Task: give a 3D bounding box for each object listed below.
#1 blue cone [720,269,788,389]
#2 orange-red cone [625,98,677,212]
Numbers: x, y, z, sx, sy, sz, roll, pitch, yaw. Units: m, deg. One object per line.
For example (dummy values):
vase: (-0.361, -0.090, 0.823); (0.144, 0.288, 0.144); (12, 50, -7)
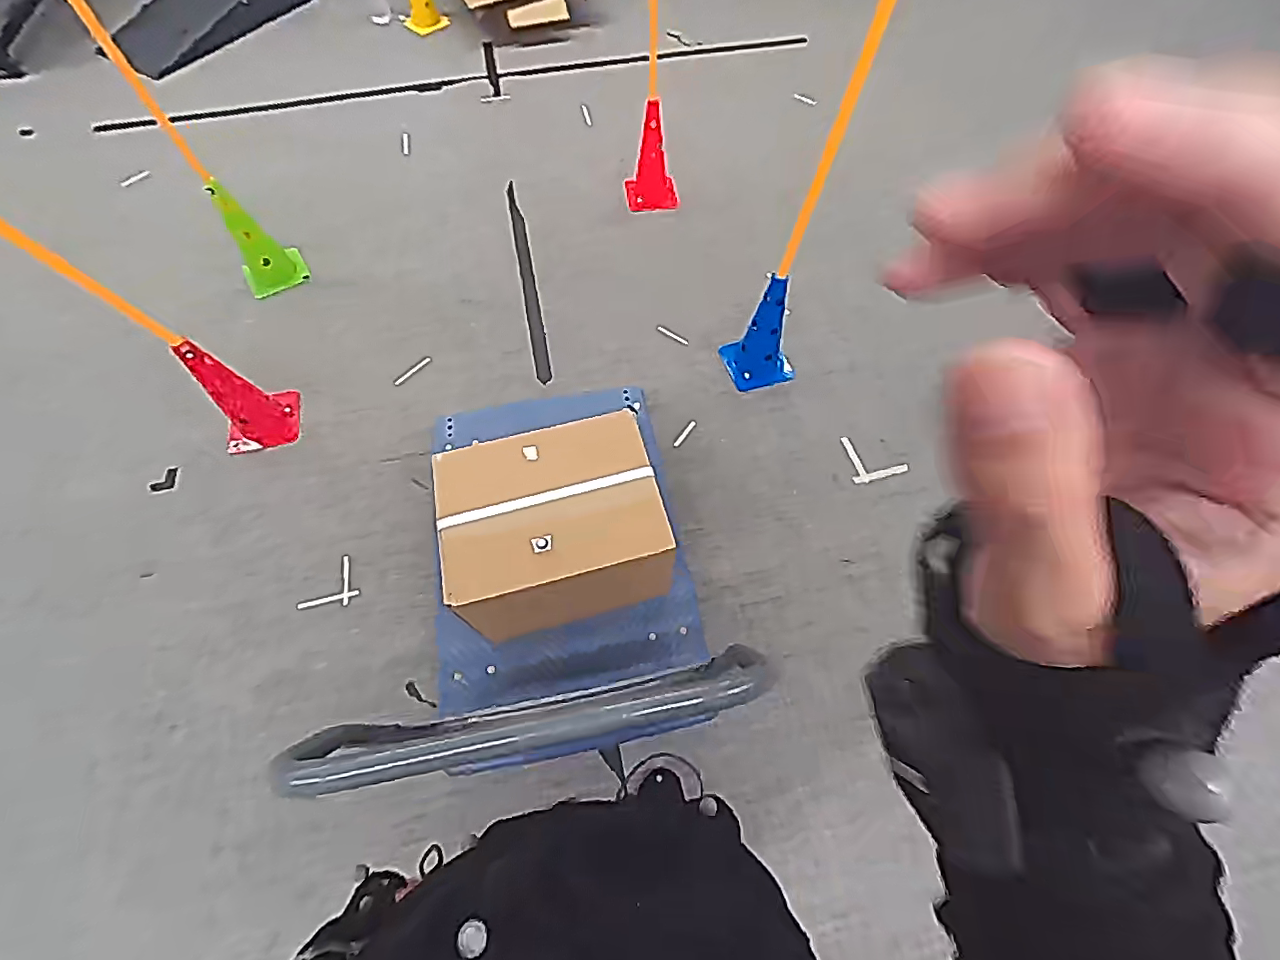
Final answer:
blue cone: (0.375, -0.463, 1.628); (0.193, 0.380, 0.192); (-15, 62, -8)
orange-red cone: (0.044, -1.220, 2.013); (0.199, 0.360, 0.198); (-5, 63, -4)
